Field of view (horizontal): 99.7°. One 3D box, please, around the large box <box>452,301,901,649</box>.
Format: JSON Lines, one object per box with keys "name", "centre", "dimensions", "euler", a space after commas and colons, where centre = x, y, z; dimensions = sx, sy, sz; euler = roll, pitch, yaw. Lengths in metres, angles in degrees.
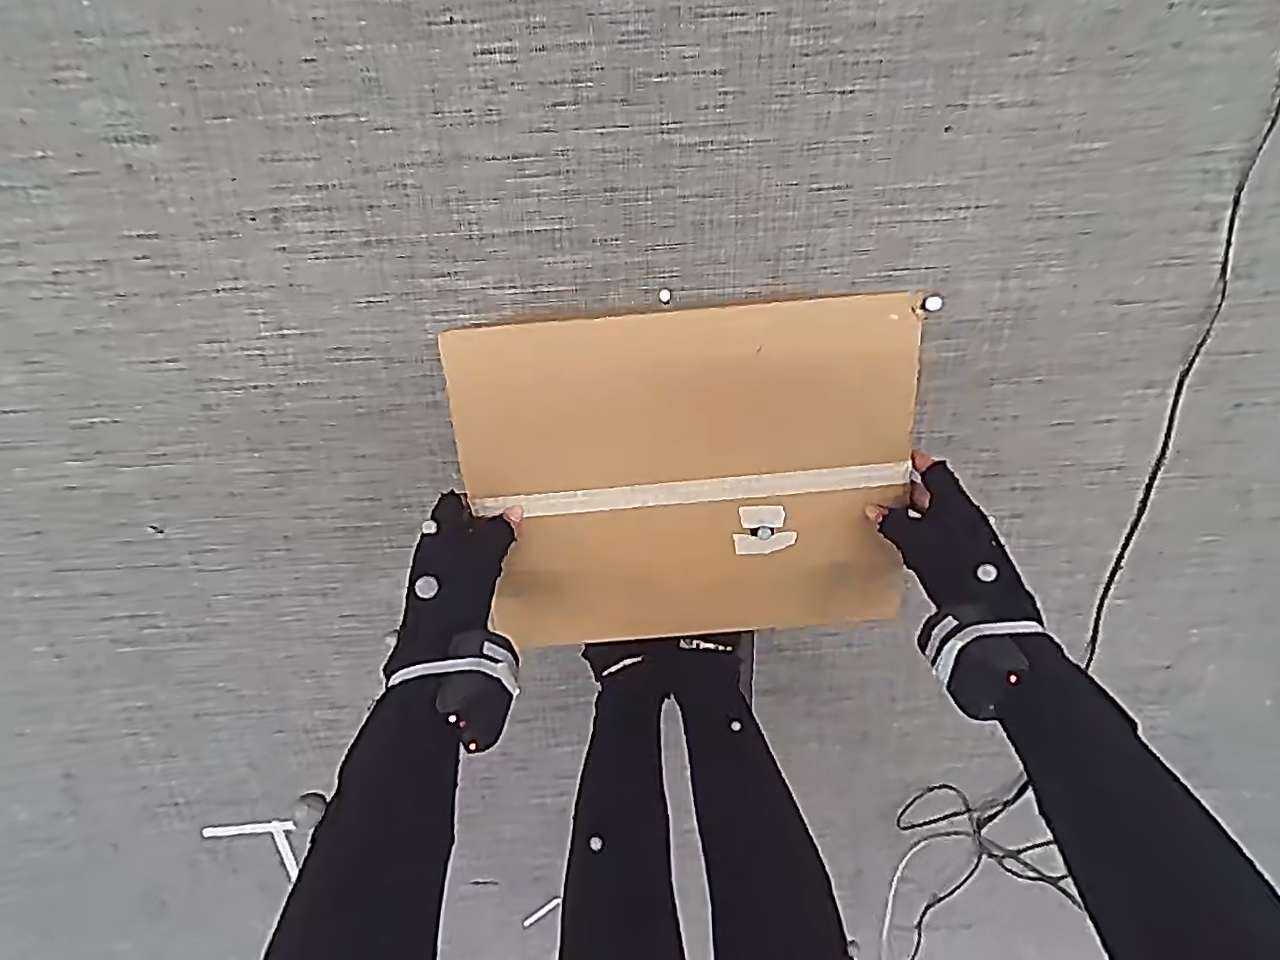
{"name": "large box", "centre": [0.040, -0.035, 0.658], "dimensions": [0.408, 0.320, 0.320], "euler": [-6, 109, -1]}
